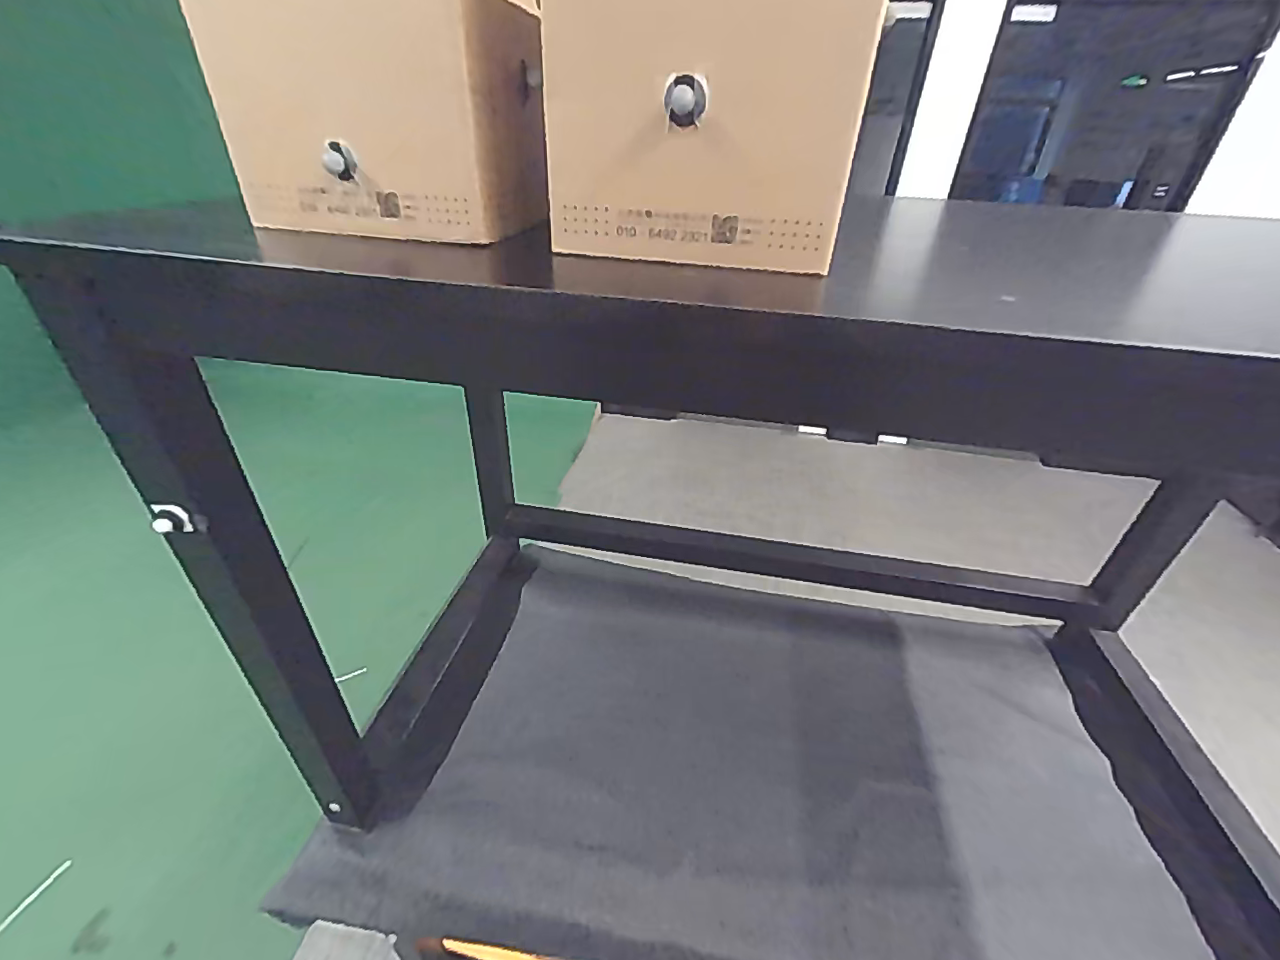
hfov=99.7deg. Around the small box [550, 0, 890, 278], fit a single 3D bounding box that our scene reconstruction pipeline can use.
[{"bbox_3d":[0.050,-0.235,0.341,0.168,0.176,0.179,9,33,8],"label":"small box"}]
